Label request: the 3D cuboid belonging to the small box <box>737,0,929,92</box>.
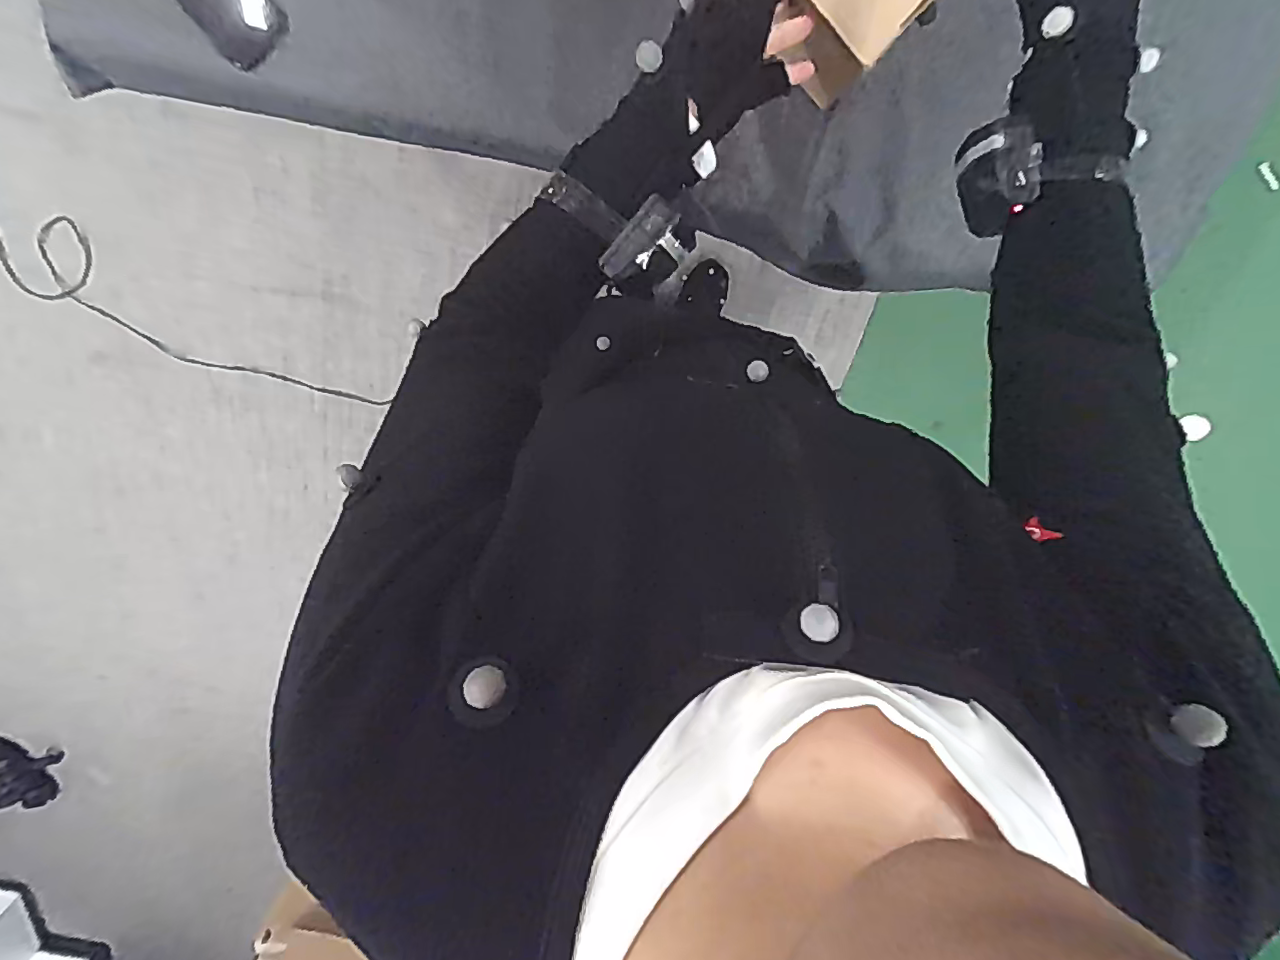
[{"bbox_3d":[0.165,-0.444,0.419,0.179,0.176,0.168,43,113,-14],"label":"small box"}]
